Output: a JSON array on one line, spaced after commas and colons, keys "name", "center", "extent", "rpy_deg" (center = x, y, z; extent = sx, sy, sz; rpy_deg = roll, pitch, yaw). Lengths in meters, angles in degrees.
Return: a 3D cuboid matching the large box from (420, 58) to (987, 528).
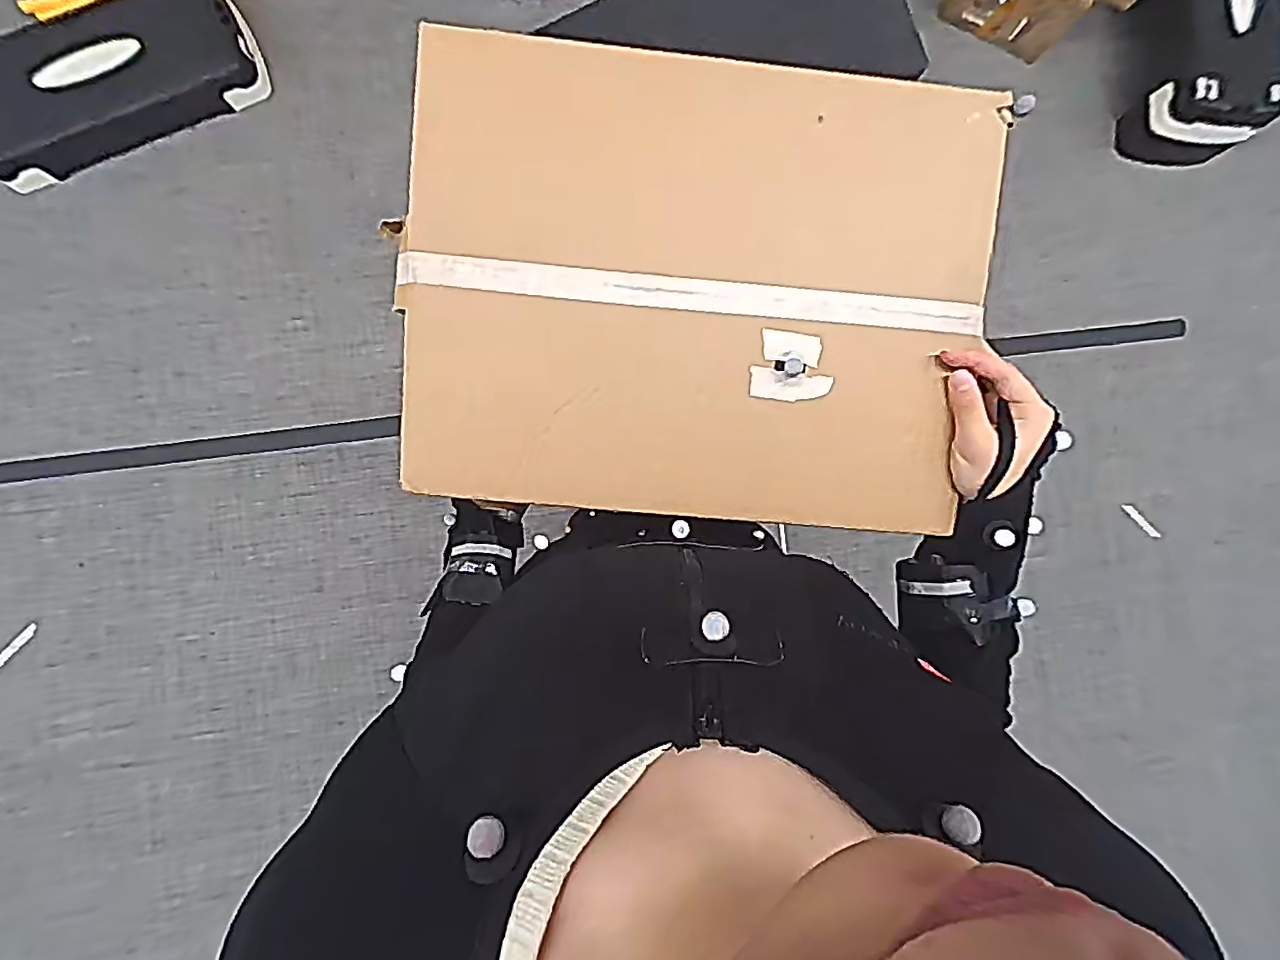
[{"name": "large box", "center": [0.036, -0.137, 0.538], "extent": [0.408, 0.320, 0.320], "rpy_deg": [4, 96, -4]}]
